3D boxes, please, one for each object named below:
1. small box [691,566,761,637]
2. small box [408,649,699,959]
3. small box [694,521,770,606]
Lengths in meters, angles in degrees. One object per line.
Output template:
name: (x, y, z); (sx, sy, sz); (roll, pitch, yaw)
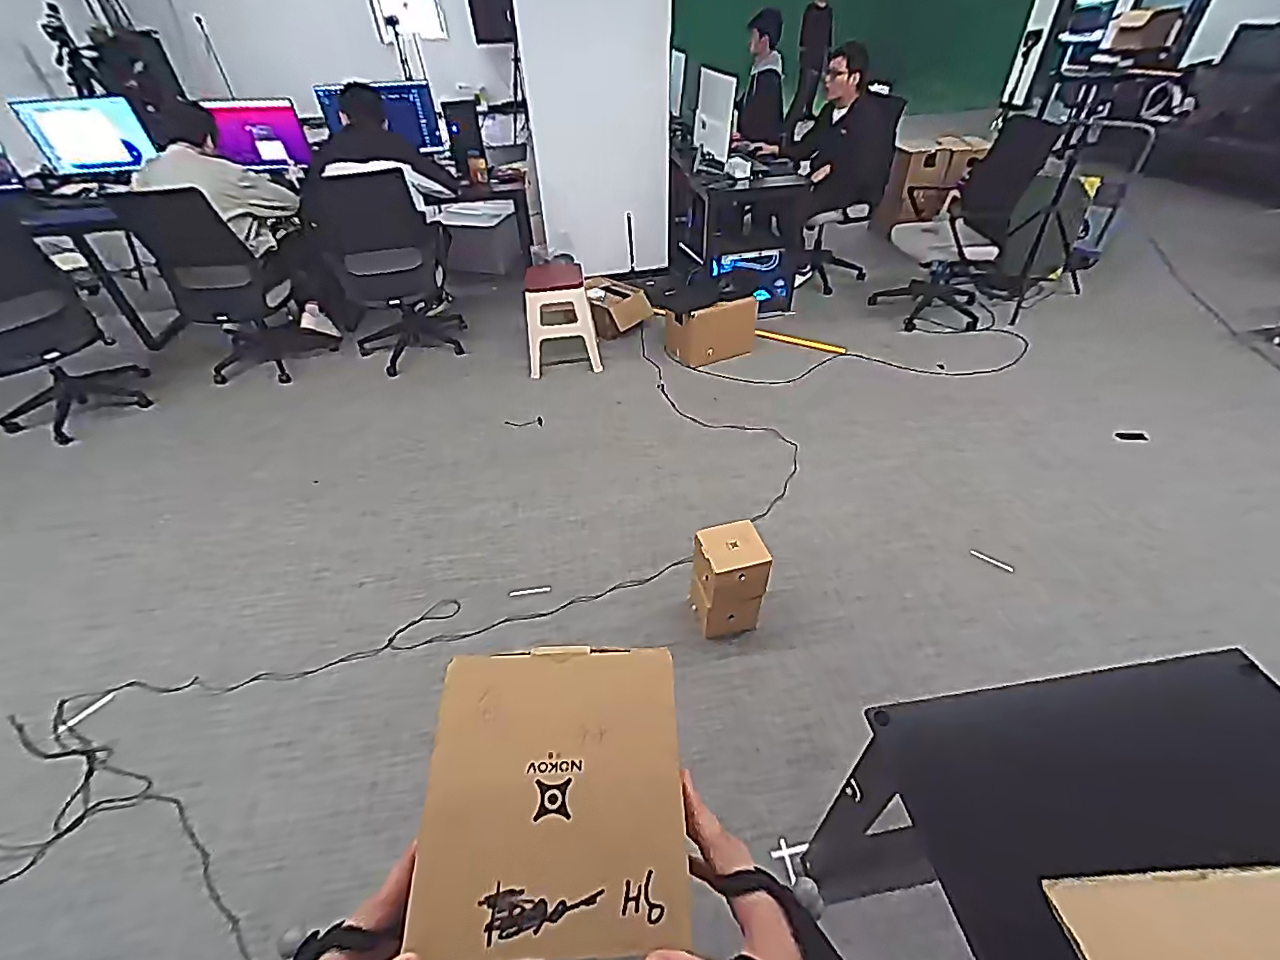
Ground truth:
small box: (0.267, 0.374, 1.716); (0.179, 0.176, 0.168); (-11, 42, -8)
small box: (-0.051, 0.246, 0.414); (0.168, 0.176, 0.179); (-2, 53, -1)
small box: (0.267, 0.251, 1.610); (0.179, 0.176, 0.168); (-11, 43, -11)
